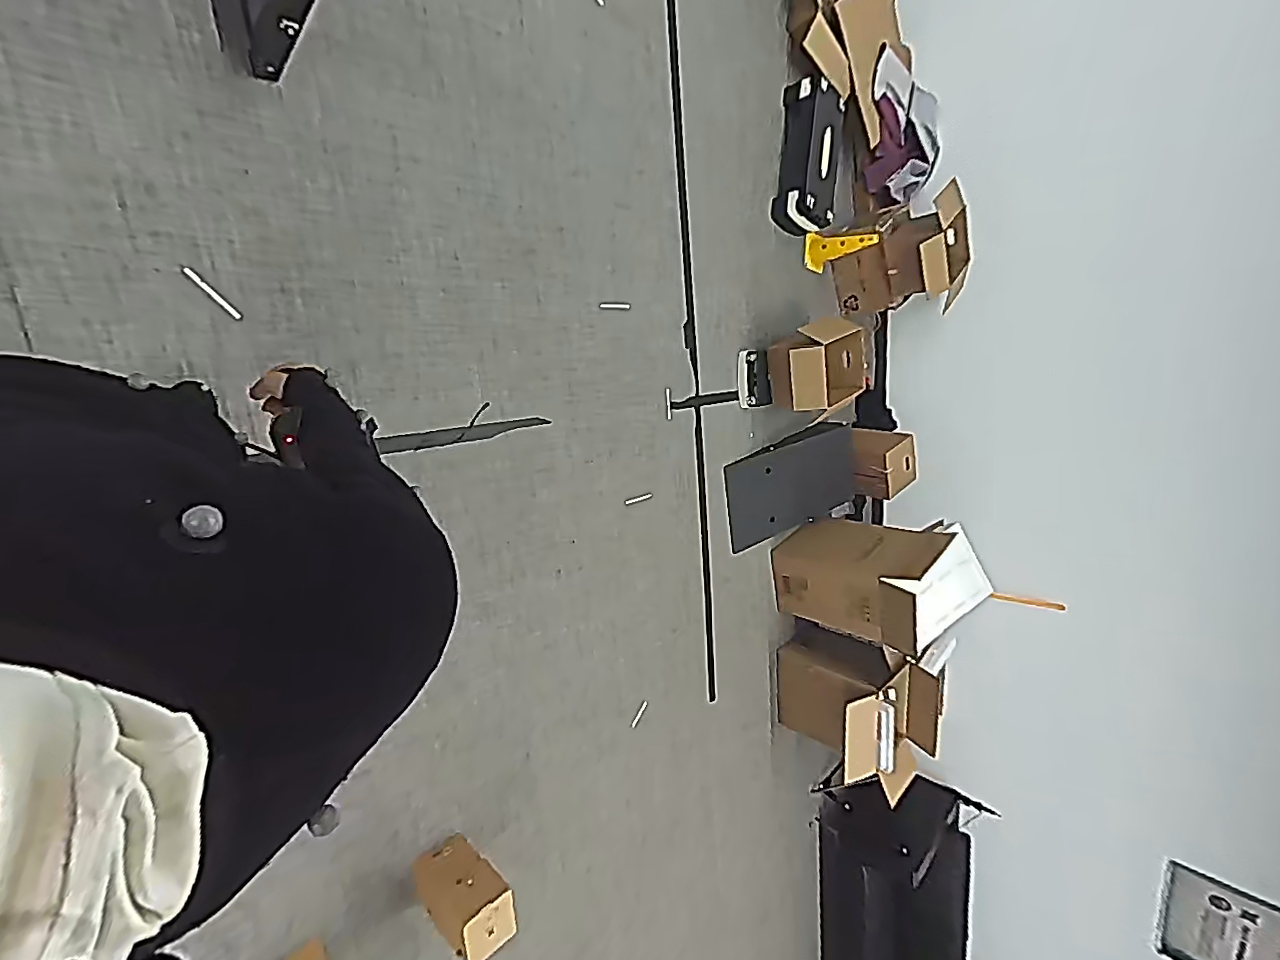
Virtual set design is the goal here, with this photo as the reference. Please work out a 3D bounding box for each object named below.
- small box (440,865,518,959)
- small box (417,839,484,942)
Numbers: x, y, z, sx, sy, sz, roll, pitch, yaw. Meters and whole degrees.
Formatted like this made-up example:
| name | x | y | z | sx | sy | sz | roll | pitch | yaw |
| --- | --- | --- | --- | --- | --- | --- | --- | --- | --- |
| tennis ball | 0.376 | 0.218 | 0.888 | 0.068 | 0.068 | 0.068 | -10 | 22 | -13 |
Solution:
| name | x | y | z | sx | sy | sz | roll | pitch | yaw |
| --- | --- | --- | --- | --- | --- | --- | --- | --- | --- |
| small box | -0.504 | 1.368 | 1.690 | 0.168 | 0.176 | 0.179 | -15 | 105 | -44 |
| small box | -0.624 | 1.358 | 1.802 | 0.168 | 0.176 | 0.179 | -14 | 106 | -43 |
